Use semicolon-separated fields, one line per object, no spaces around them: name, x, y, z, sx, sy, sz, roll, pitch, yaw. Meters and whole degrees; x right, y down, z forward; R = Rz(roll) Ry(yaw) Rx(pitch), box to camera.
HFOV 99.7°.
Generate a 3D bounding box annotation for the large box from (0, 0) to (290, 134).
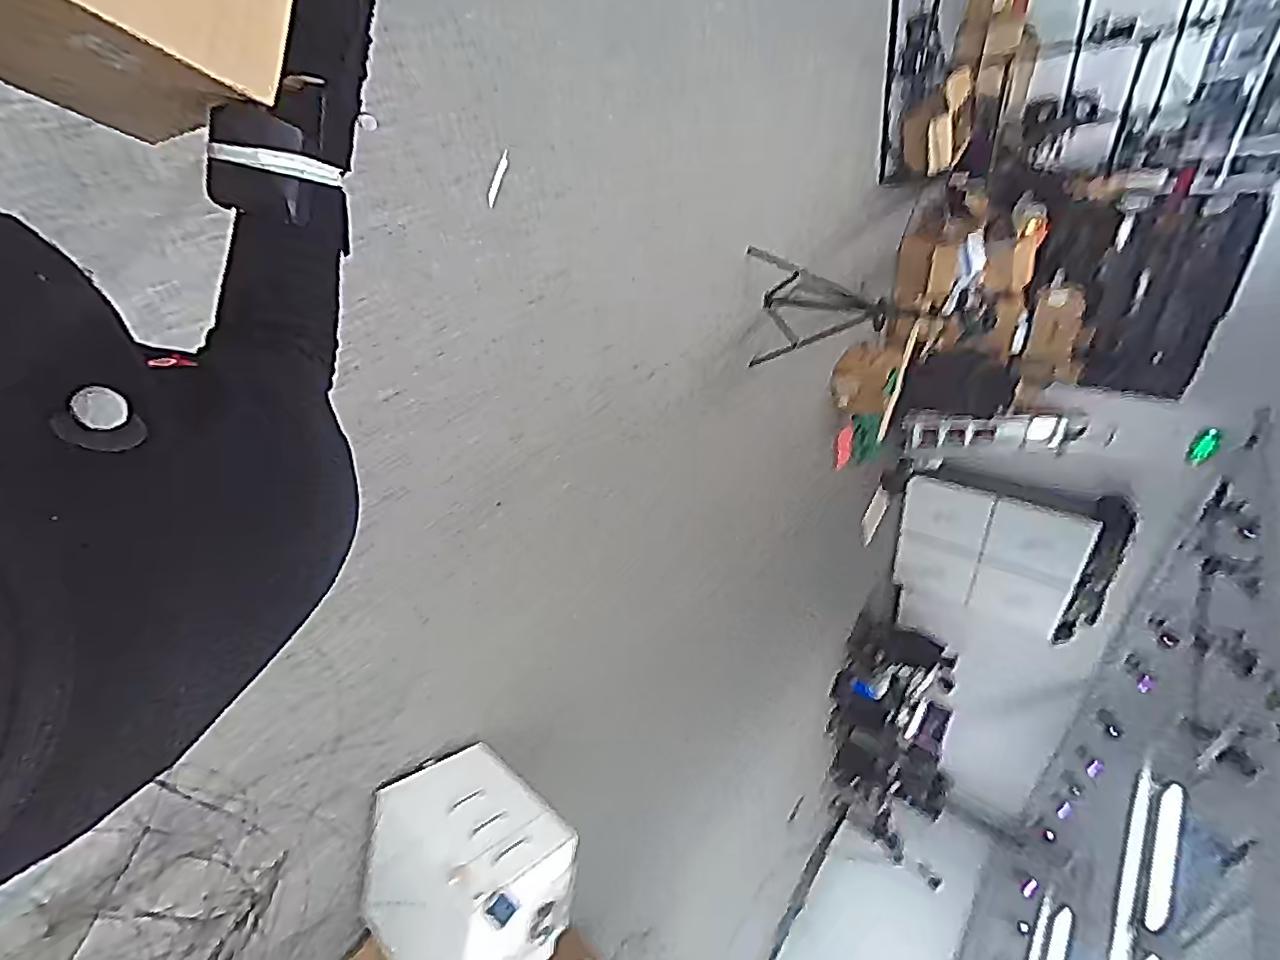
large box;-0.438;-0.449;0.268;0.408;0.320;0.320;6;102;-55
